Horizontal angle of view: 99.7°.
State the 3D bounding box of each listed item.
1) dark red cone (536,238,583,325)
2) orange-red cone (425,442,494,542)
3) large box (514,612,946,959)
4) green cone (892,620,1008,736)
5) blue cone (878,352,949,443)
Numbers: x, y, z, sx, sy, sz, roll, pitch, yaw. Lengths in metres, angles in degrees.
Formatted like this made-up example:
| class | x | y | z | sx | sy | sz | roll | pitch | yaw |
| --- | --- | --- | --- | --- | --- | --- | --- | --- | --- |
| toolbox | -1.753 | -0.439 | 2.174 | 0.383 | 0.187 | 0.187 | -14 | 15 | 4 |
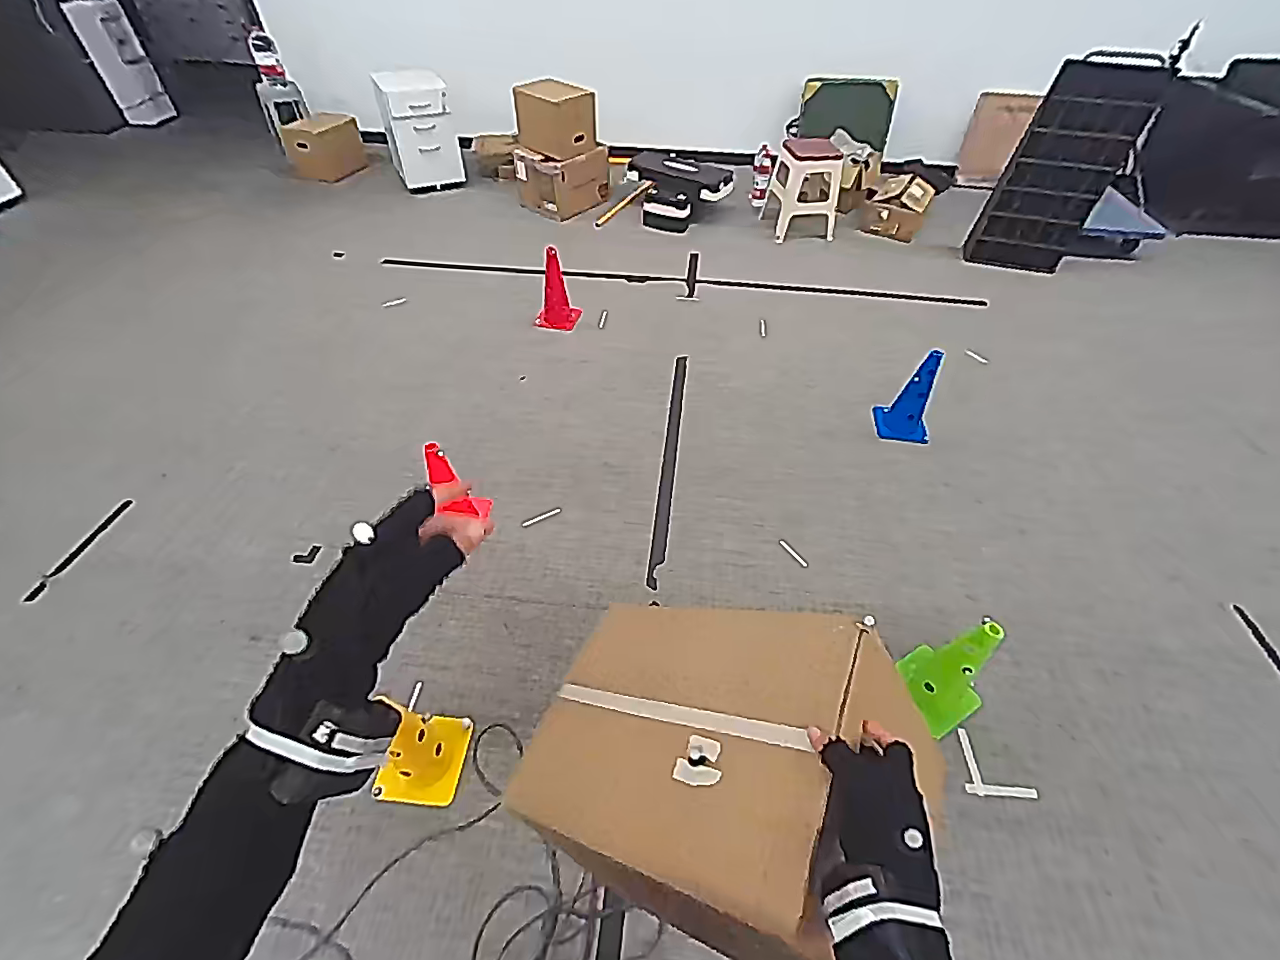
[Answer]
| class | x | y | z | sx | sy | sz | roll | pitch | yaw |
| --- | --- | --- | --- | --- | --- | --- | --- | --- | --- |
| dark red cone | -0.392 | -0.946 | 2.570 | 0.201 | 0.394 | 0.202 | 11 | 49 | 7 |
| orange-red cone | -0.615 | 0.017 | 1.725 | 0.198 | 0.360 | 0.199 | 3 | 49 | 3 |
| large box | 0.124 | 0.398 | 0.711 | 0.408 | 0.320 | 0.320 | -10 | 35 | 44 |
| green cone | 0.812 | 0.461 | 1.362 | 0.202 | 0.368 | 0.200 | -22 | 53 | -22 |
| blue cone | 1.095 | -0.336 | 2.115 | 0.192 | 0.380 | 0.193 | 9 | 48 | 5 |
